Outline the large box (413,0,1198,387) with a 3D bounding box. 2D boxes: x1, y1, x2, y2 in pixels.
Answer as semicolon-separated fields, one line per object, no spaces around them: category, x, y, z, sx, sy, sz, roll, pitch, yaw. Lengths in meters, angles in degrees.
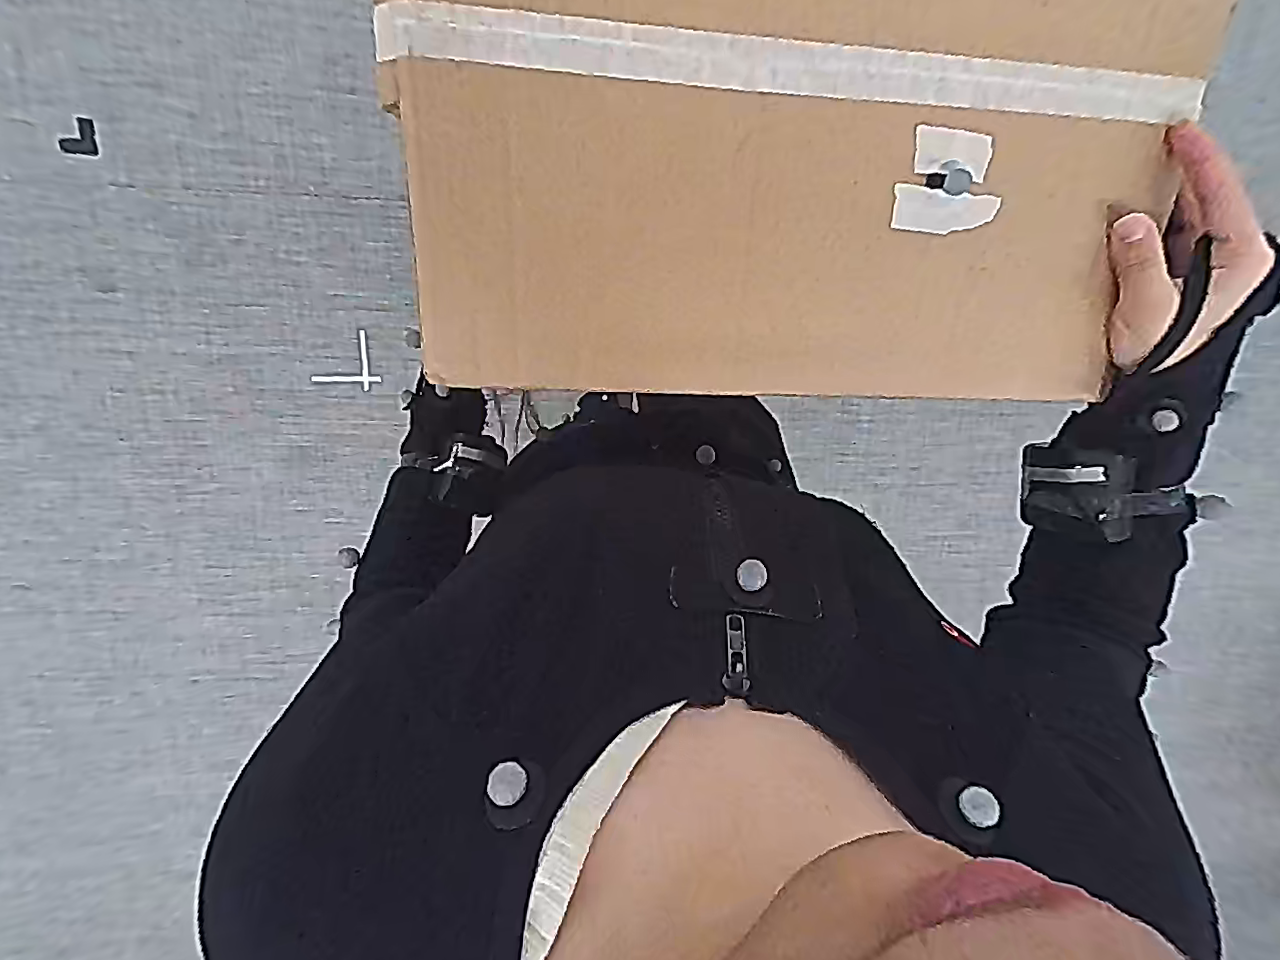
large box;0.071;-0.249;0.414;0.408;0.320;0.320;-1;109;-8
